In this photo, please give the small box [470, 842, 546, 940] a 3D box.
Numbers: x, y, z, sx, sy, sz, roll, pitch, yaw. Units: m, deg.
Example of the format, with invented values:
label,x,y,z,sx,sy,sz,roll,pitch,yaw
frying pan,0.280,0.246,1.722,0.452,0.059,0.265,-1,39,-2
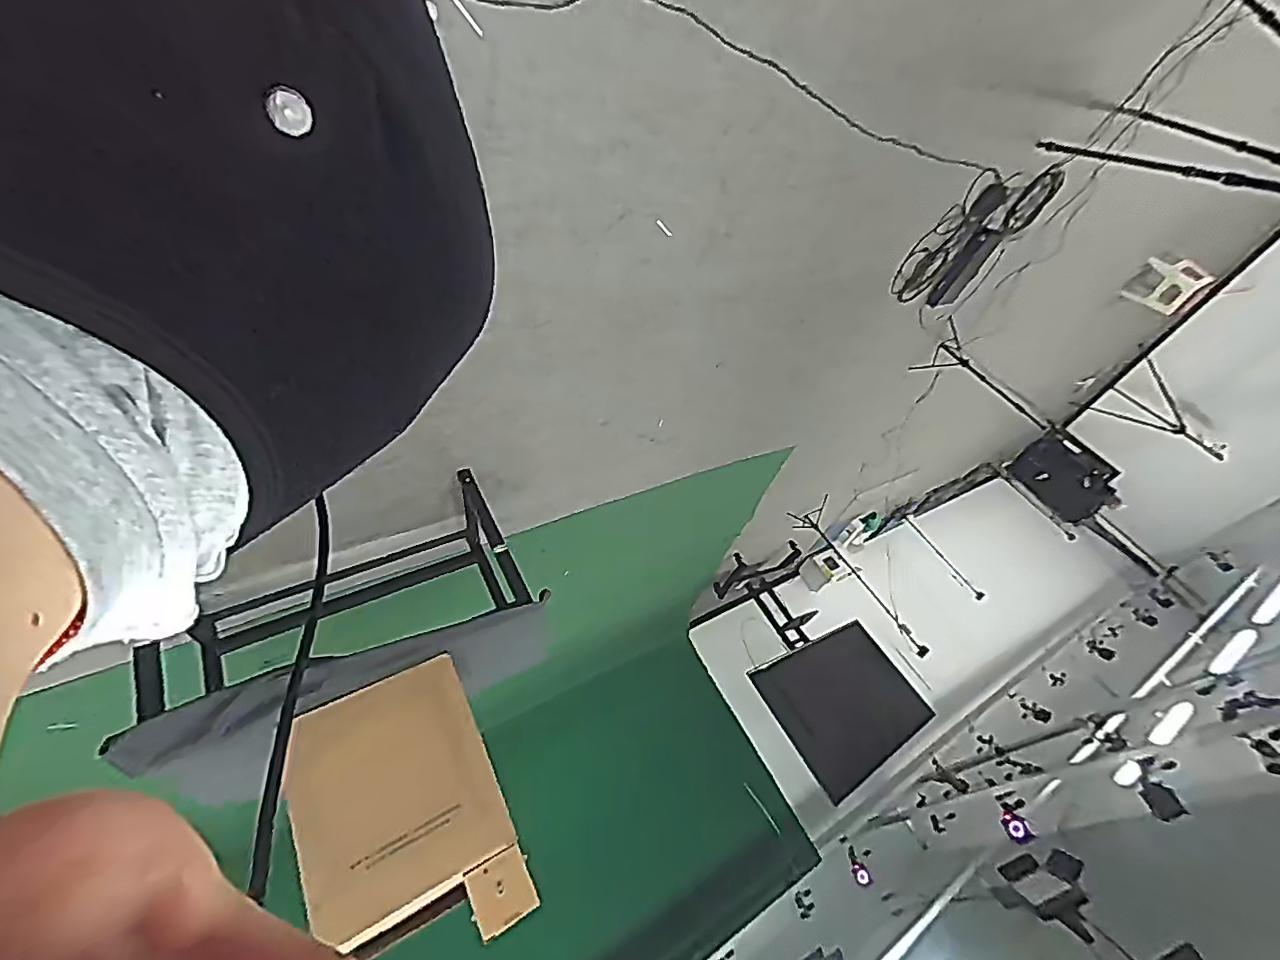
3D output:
label,x,y,z,sx,sy,sz,roll,pitch,yaw
small box,-0.388,1.197,1.581,0.168,0.176,0.179,-20,148,-27
